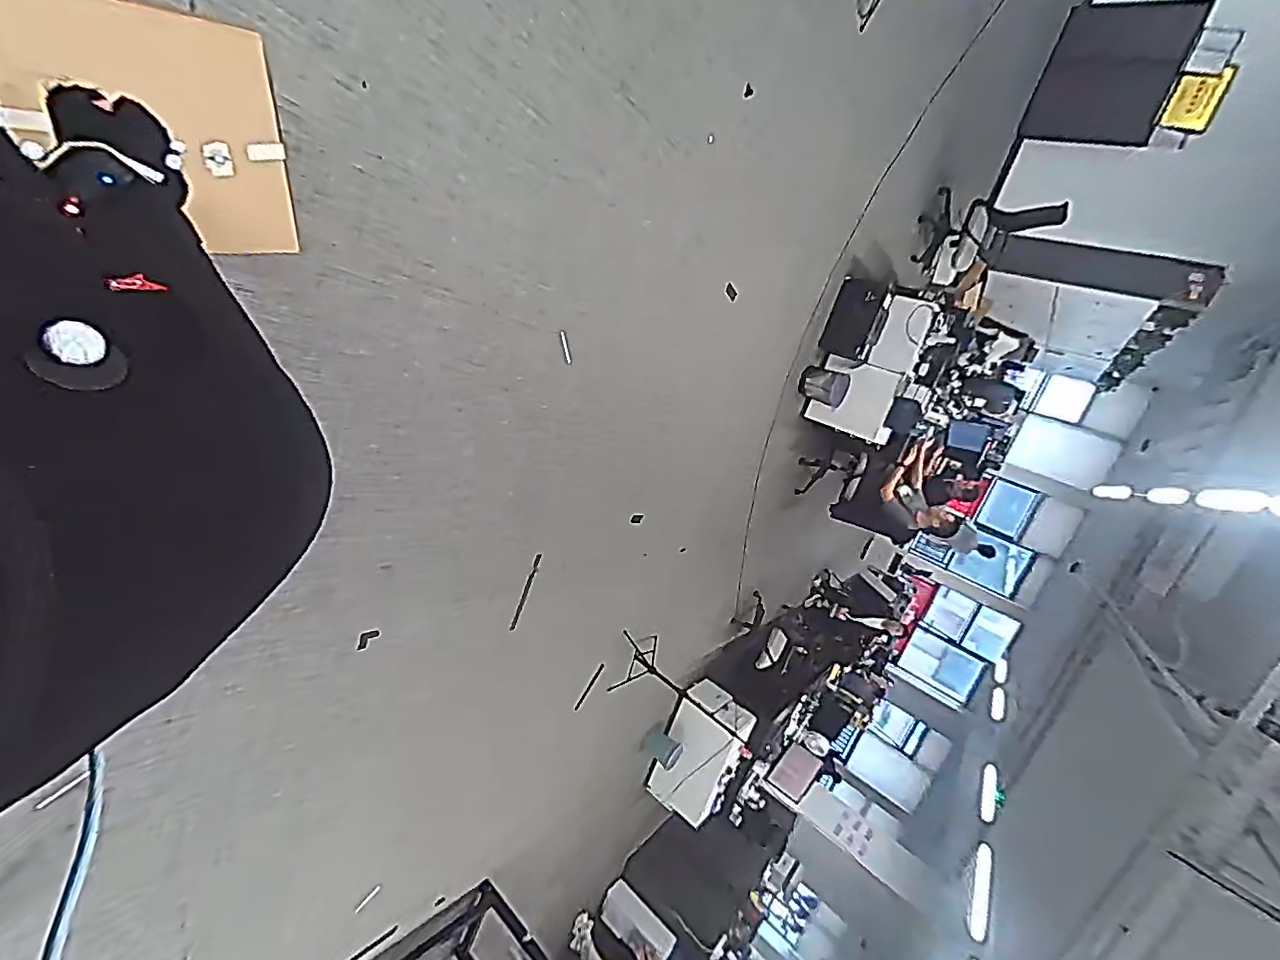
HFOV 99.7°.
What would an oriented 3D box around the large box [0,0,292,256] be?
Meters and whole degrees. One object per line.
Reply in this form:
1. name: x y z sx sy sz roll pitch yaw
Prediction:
1. large box: -0.831 -0.557 0.882 0.320 0.408 0.320 -22 129 -42
